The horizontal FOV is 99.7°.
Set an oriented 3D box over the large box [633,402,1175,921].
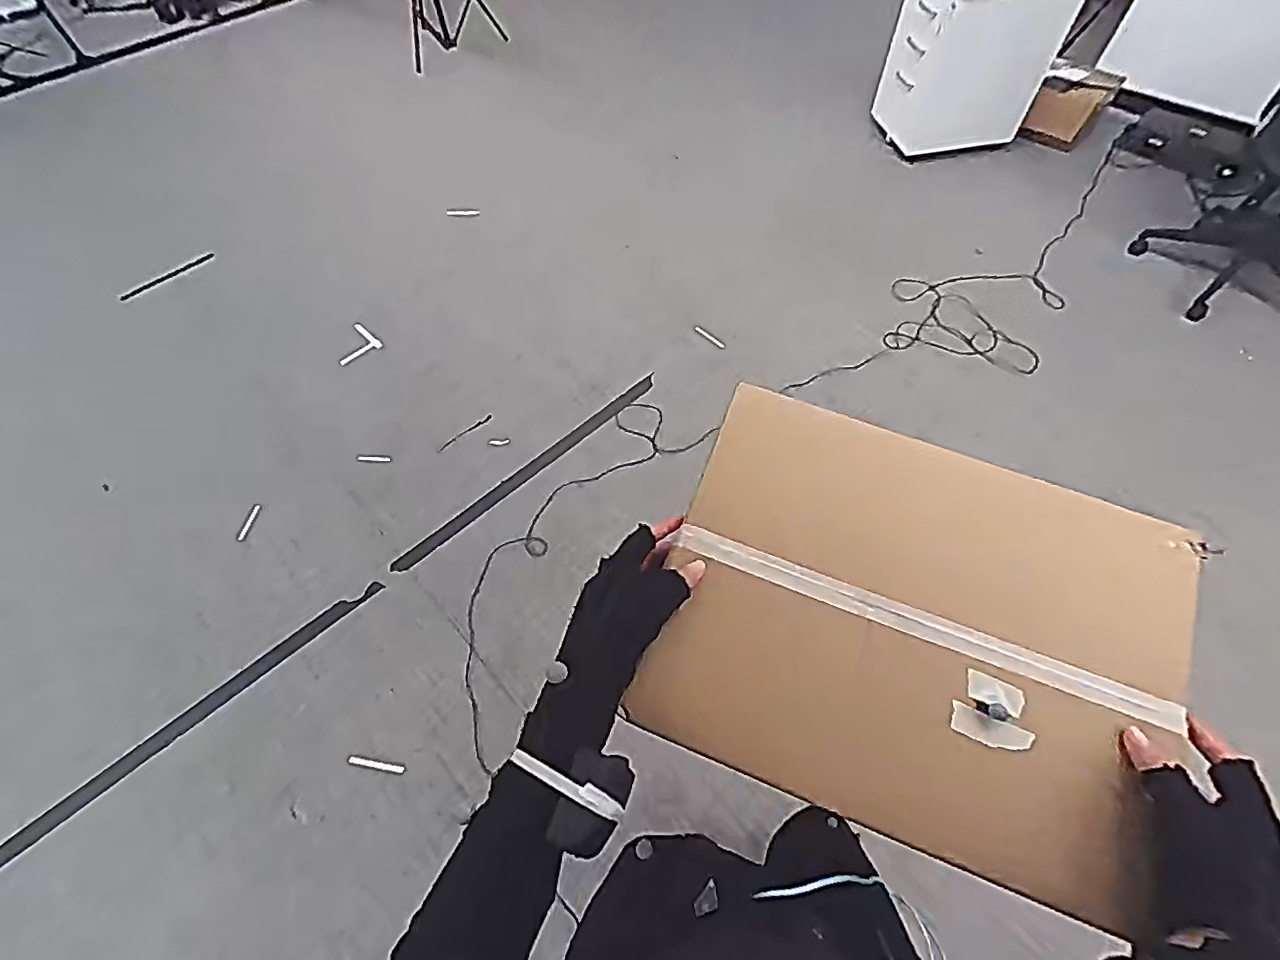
[{"bbox_3d":[0.233,0.166,0.600,0.408,0.320,0.320,21,76,8],"label":"large box"}]
